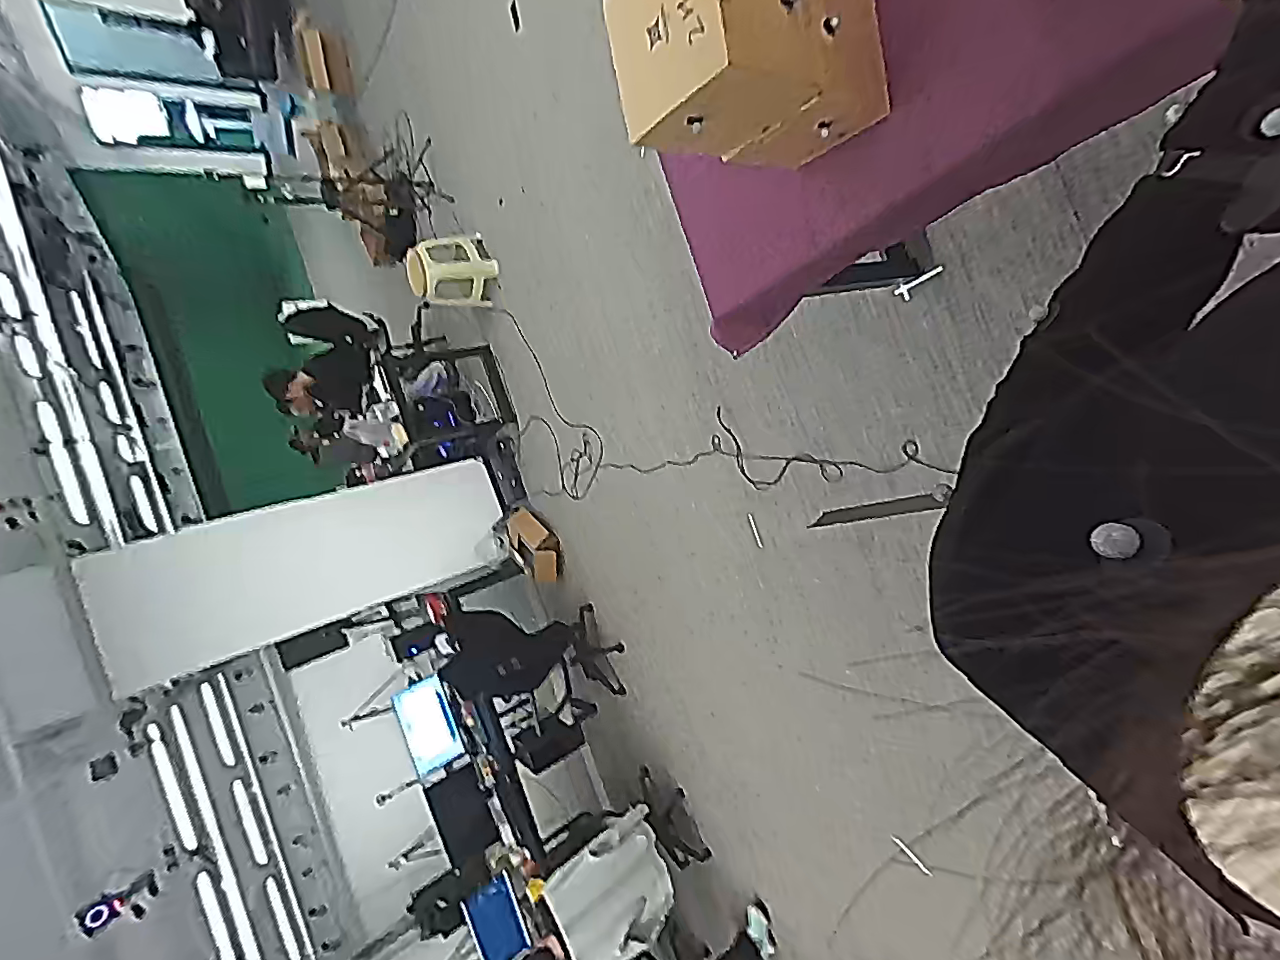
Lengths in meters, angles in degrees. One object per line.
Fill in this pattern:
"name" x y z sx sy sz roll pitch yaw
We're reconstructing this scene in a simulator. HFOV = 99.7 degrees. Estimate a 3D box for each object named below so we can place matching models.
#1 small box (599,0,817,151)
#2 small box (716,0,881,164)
"small box" 0.079 -0.516 0.641 0.179 0.176 0.168 2 108 53
"small box" 0.205 -0.558 0.738 0.168 0.176 0.179 0 105 54
